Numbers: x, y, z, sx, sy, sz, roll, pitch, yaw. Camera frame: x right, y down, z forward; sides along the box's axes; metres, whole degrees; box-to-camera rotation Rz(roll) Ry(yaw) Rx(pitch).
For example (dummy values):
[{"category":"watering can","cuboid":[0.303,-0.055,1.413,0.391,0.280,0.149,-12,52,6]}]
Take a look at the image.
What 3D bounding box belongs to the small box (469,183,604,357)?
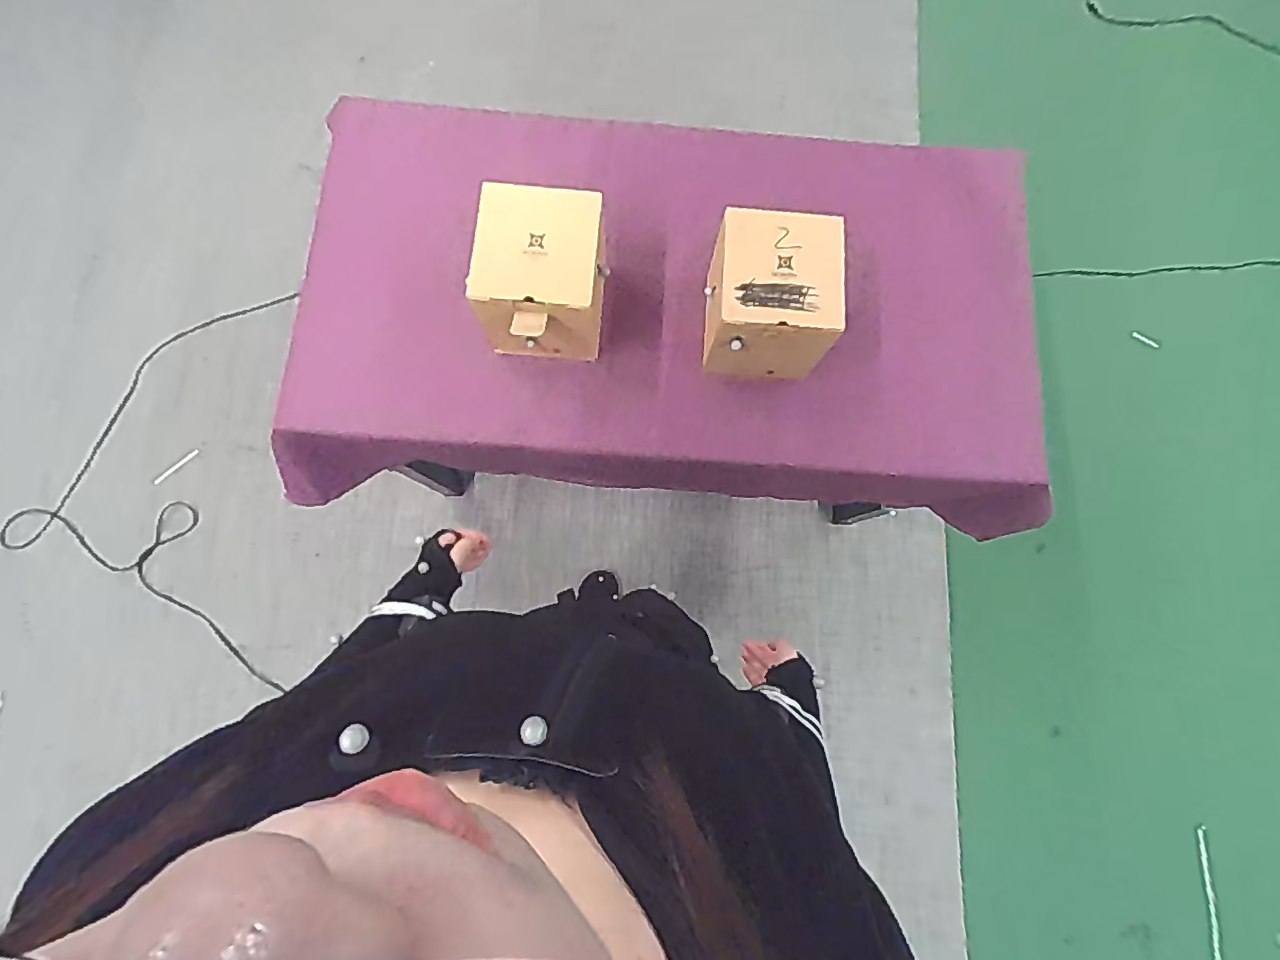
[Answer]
[{"category":"small box","cuboid":[-0.144,-0.307,0.816,0.168,0.176,0.179,5,79,-1]}]
